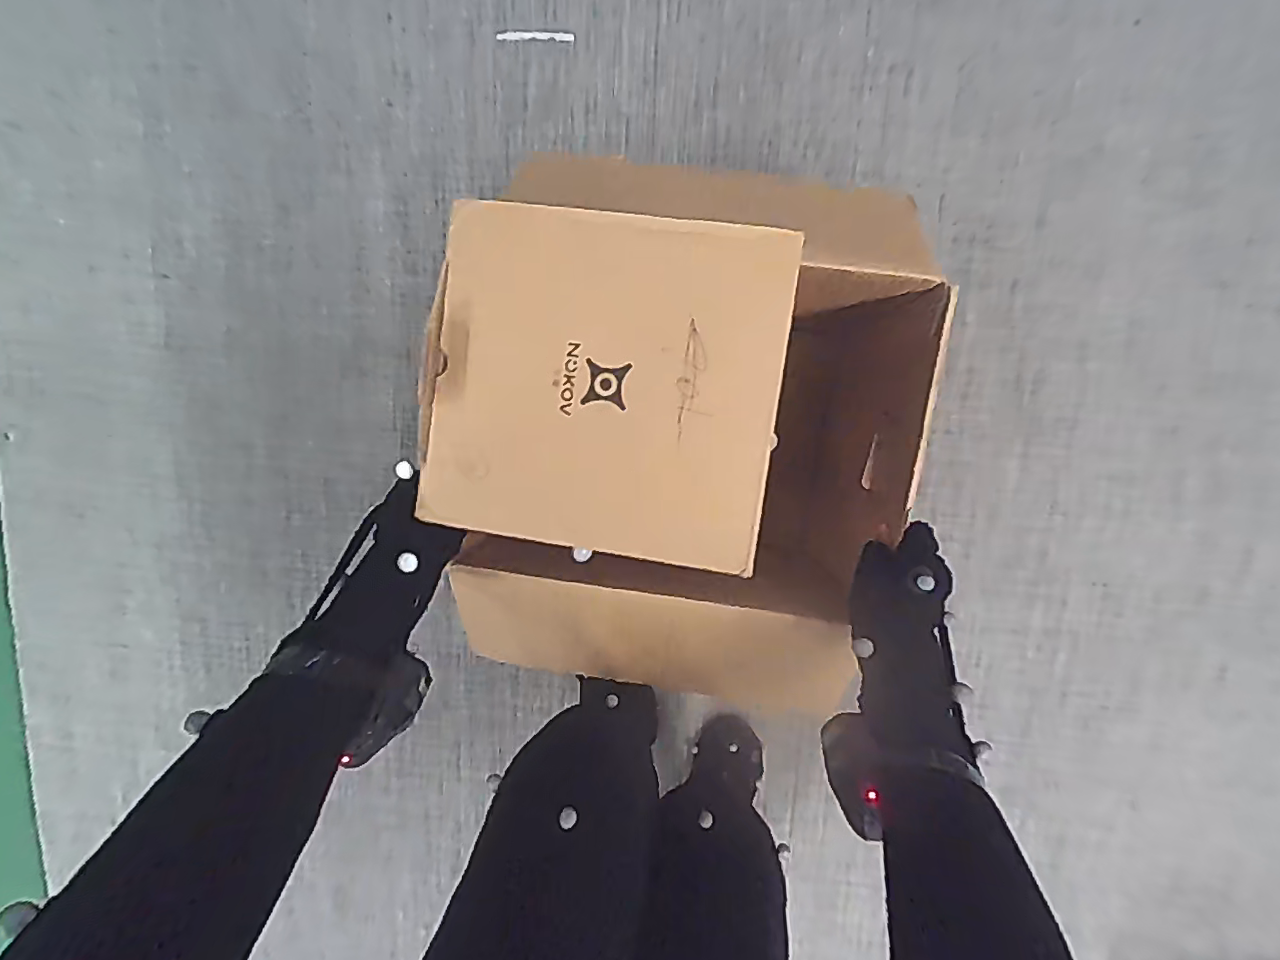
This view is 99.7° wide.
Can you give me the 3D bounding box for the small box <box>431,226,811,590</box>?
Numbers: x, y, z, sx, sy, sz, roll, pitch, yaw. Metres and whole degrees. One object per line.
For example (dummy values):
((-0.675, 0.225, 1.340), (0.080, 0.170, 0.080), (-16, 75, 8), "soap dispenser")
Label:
((-0.006, -0.041, 0.347), (0.179, 0.176, 0.168), (7, 95, 5), "small box")
